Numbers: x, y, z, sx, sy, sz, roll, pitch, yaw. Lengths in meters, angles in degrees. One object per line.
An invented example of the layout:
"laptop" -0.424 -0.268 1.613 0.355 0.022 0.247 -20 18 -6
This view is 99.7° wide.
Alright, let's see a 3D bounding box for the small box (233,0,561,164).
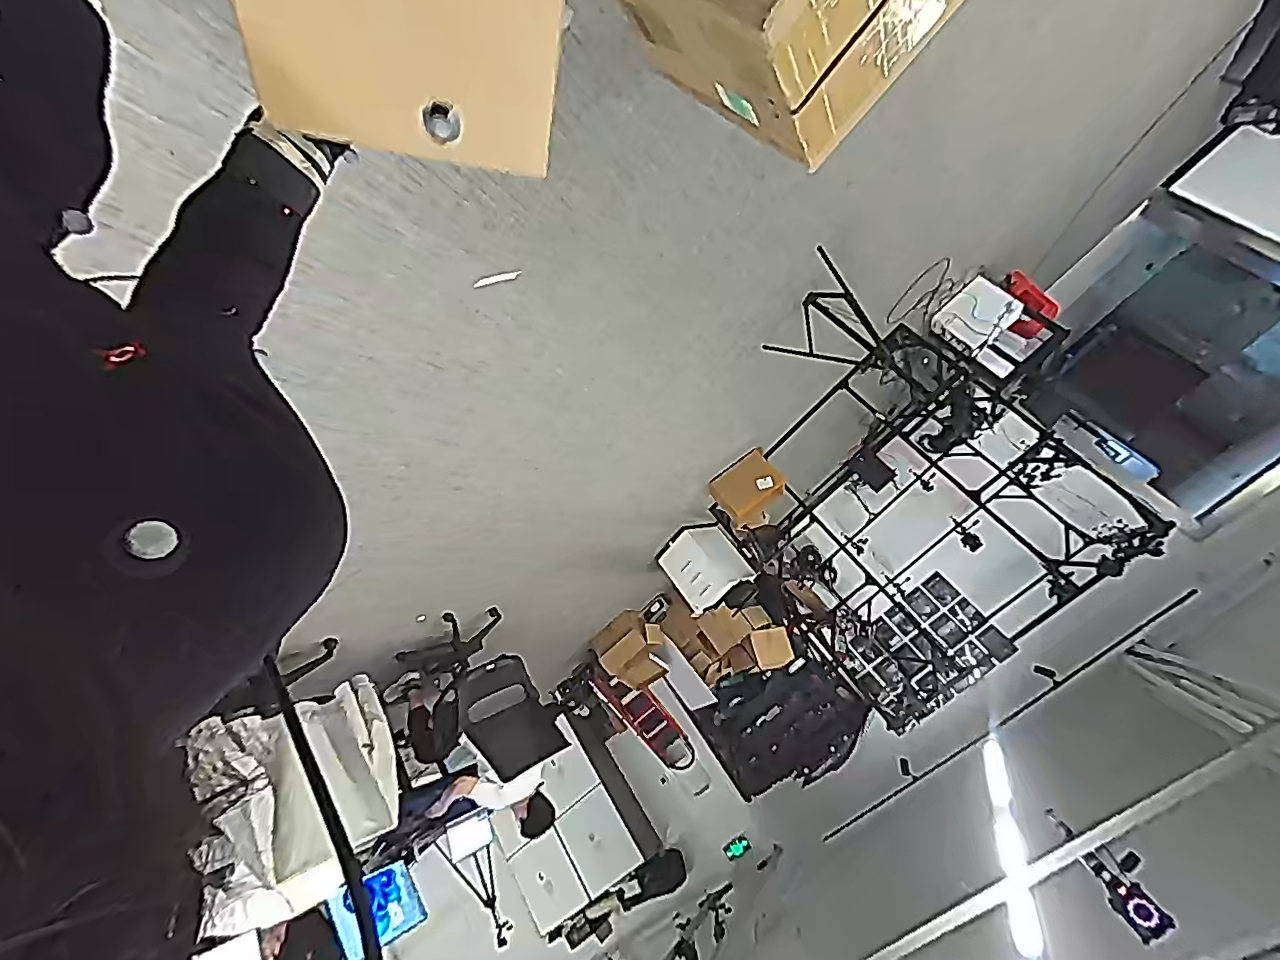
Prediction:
"small box" -0.132 -0.328 0.321 0.168 0.179 0.176 2 141 -15
